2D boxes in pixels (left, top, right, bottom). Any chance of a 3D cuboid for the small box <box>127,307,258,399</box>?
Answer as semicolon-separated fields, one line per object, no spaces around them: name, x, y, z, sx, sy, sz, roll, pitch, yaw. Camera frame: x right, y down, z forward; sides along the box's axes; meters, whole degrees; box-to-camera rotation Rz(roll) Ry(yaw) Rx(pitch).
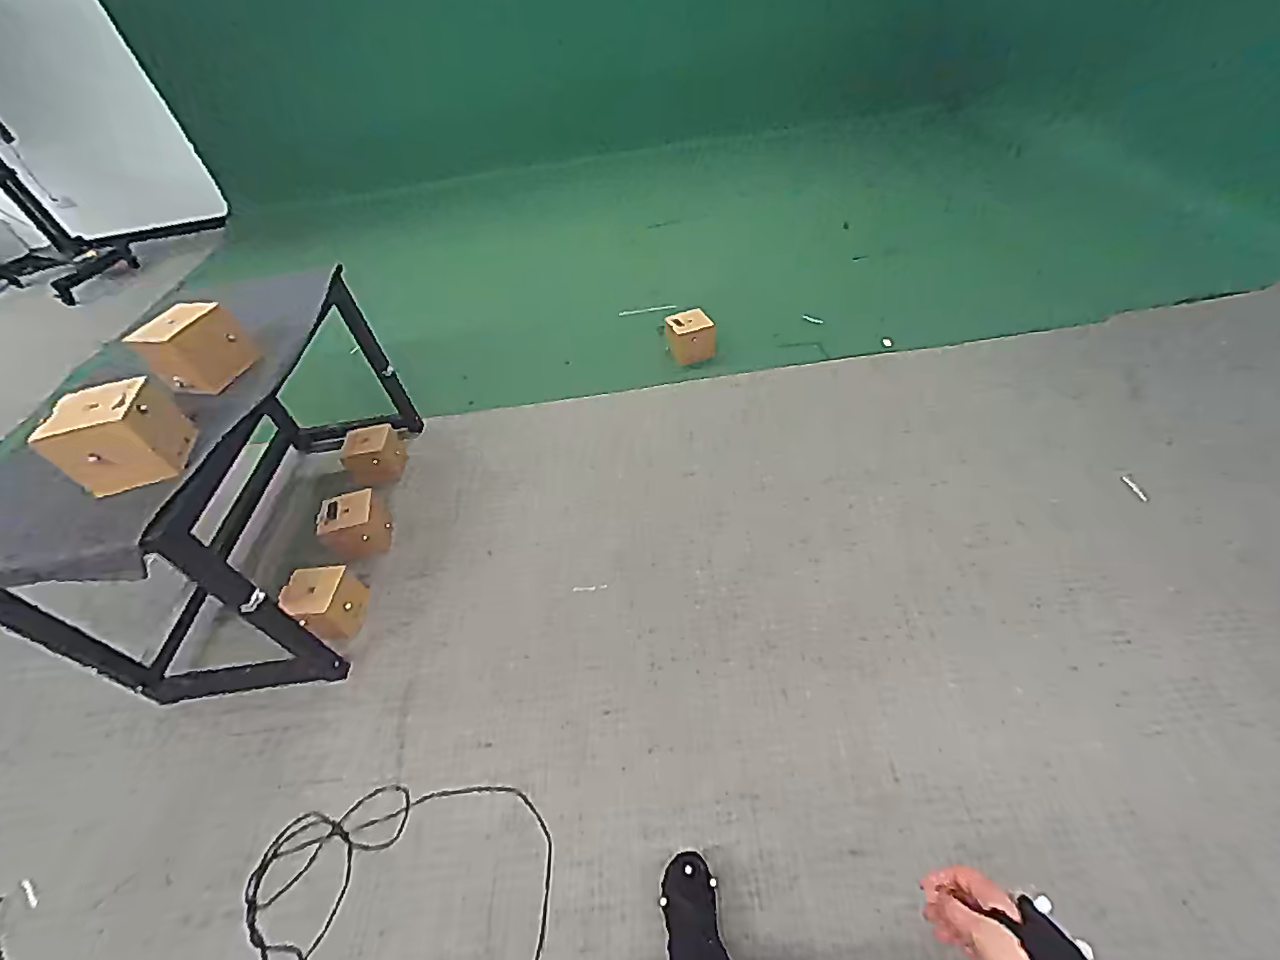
small box;-1.156;-0.334;1.420;0.168;0.176;0.179;5;50;18

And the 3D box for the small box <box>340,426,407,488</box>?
small box;-1.066;-0.091;2.178;0.179;0.176;0.168;-12;46;-1

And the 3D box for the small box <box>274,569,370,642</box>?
small box;-0.995;0.401;1.714;0.179;0.176;0.168;-5;47;5

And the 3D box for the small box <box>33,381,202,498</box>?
small box;-1.124;-0.084;1.181;0.179;0.176;0.168;-17;47;-7

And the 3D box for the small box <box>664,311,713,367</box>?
small box;0.226;-0.638;2.467;0.179;0.176;0.168;-19;47;-9
